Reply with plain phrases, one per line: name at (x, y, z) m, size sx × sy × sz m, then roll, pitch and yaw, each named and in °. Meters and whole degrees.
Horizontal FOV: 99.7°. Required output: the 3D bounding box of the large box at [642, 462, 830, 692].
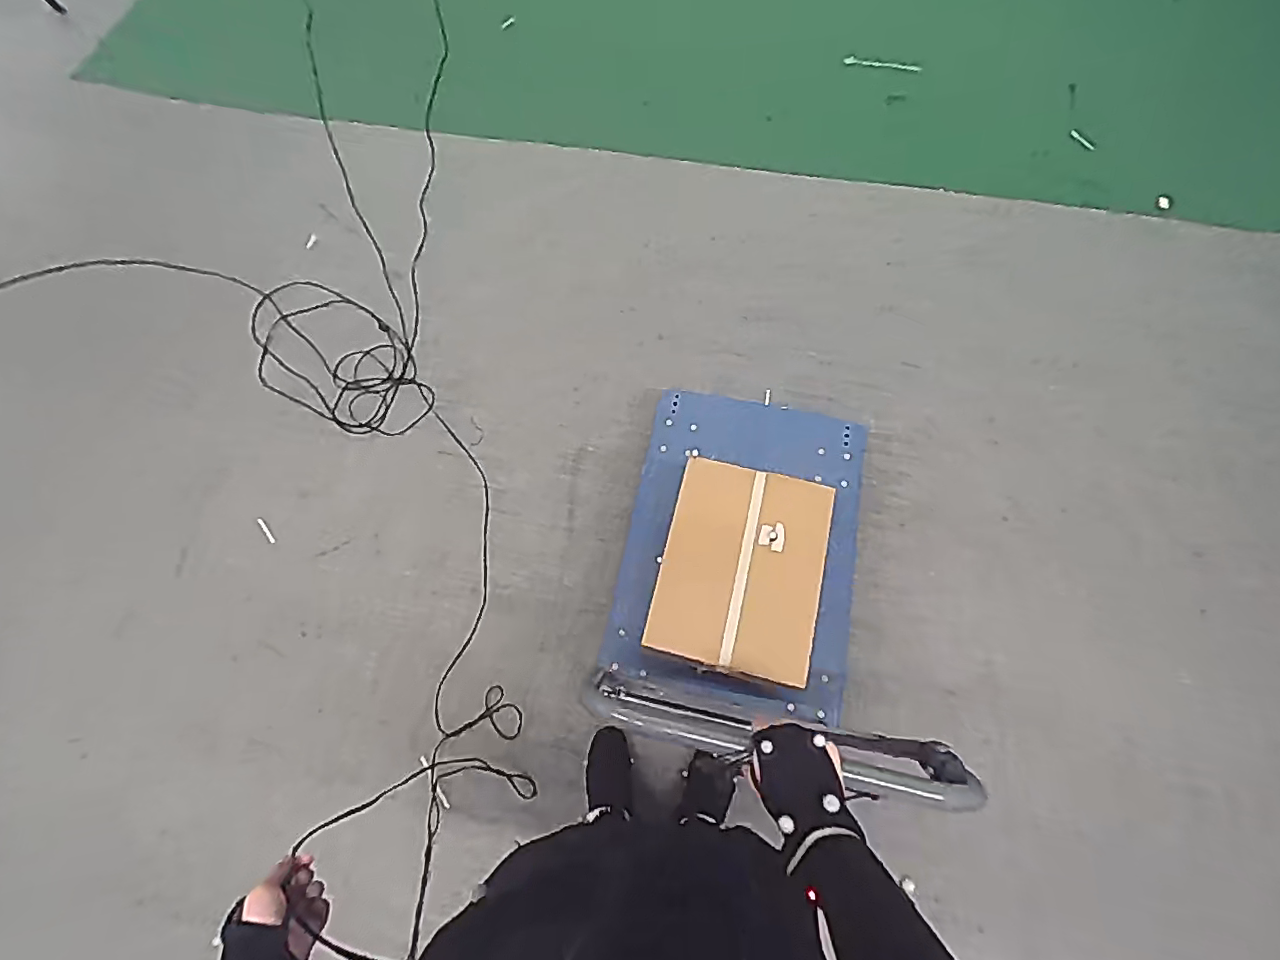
large box at (0.201, 0.228, 1.196) m, size 0.320 × 0.320 × 0.408 m, roll 14°, pitch 70°, yaw 6°
